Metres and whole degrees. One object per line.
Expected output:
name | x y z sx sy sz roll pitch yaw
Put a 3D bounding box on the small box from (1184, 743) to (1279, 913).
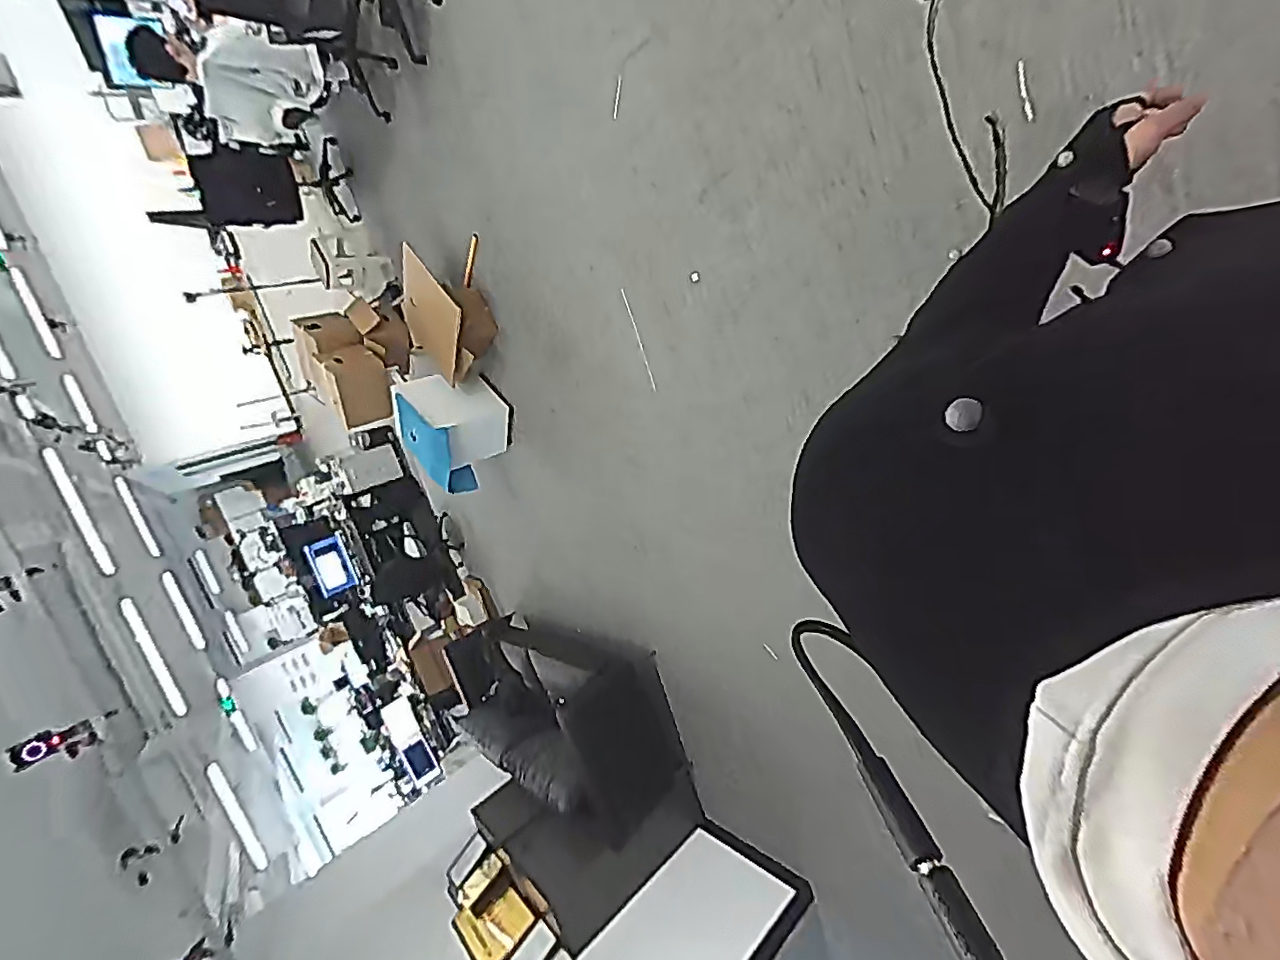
small box | 1.075 0.605 0.938 0.168 0.176 0.179 5 113 50
